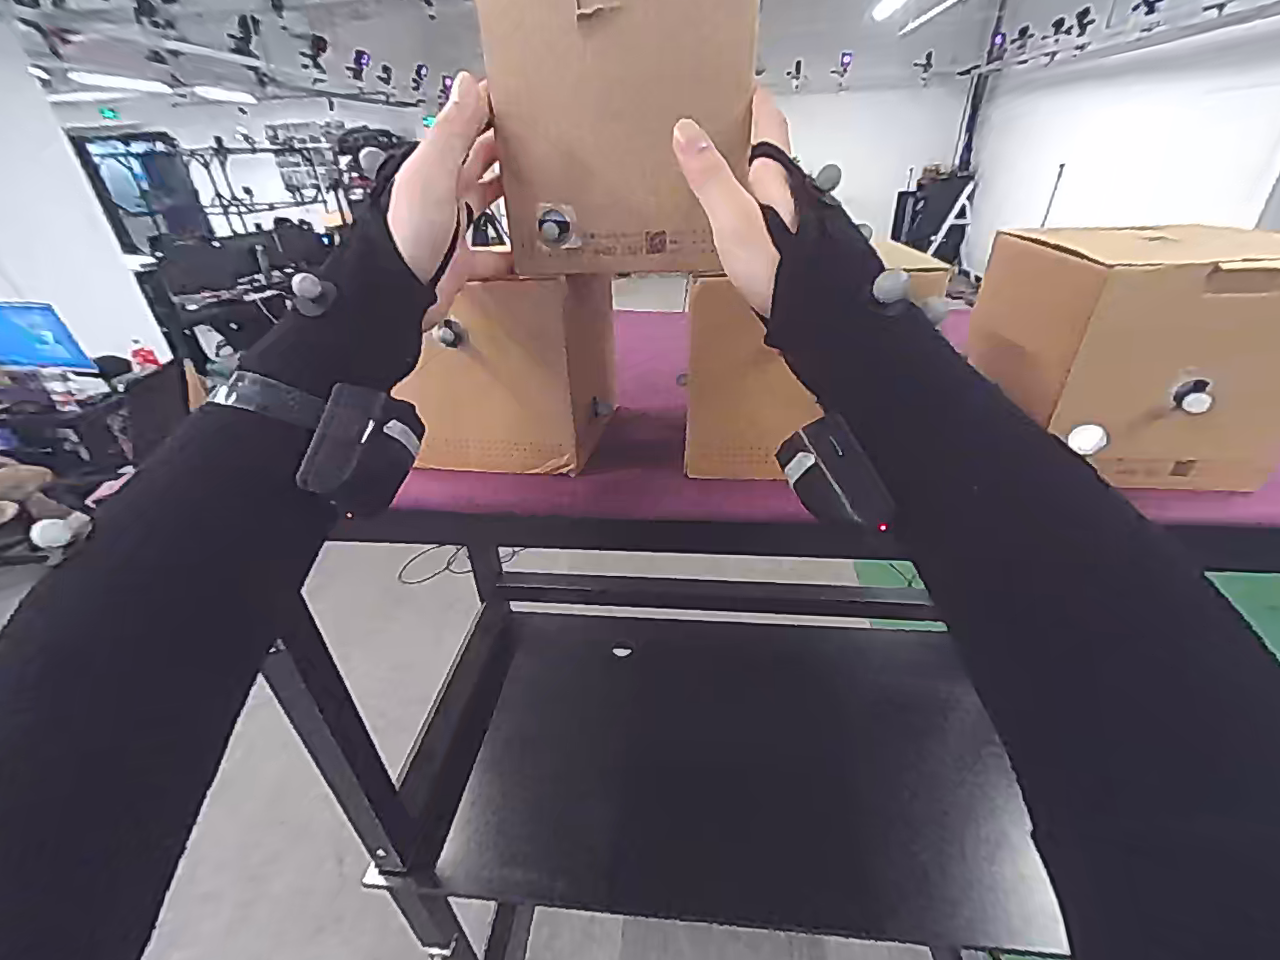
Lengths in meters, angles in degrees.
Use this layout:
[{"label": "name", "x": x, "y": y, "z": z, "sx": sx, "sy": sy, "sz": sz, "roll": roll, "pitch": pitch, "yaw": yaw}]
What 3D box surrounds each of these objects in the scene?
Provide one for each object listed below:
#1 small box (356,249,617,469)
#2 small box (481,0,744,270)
[{"label": "small box", "x": -0.125, "y": -0.120, "z": 0.517, "sx": 0.179, "sy": 0.176, "sz": 0.168, "roll": 4, "pitch": 30, "yaw": 9}, {"label": "small box", "x": -0.006, "y": -0.266, "z": 0.432, "sx": 0.168, "sy": 0.176, "sz": 0.179, "roll": 1, "pitch": 29, "yaw": 5}]
